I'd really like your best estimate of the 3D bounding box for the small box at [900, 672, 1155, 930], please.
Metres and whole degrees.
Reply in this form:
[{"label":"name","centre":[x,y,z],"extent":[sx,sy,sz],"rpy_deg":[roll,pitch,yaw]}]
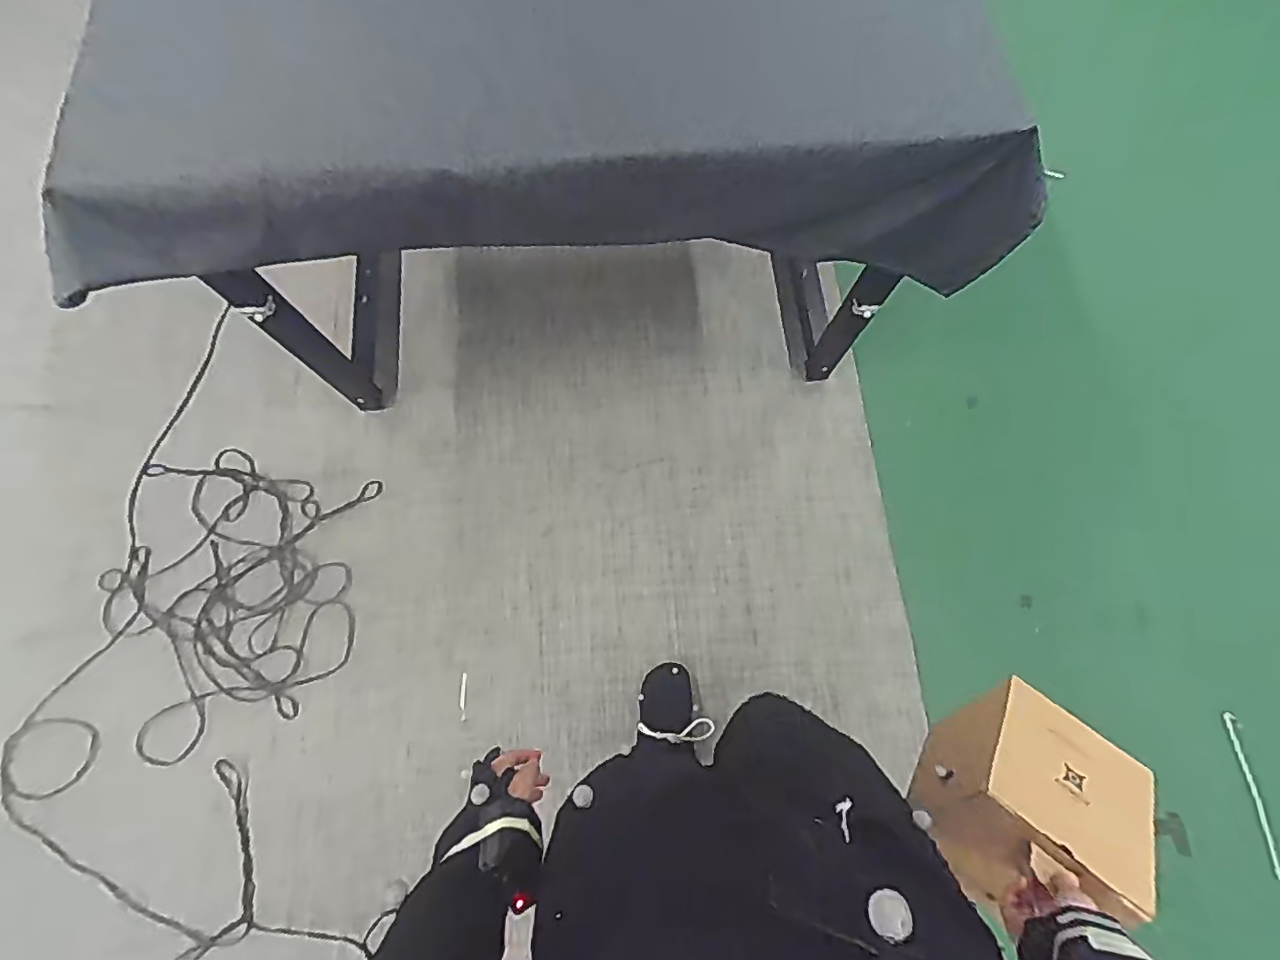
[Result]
[{"label":"small box","centre":[0.434,0.369,0.624],"extent":[0.168,0.176,0.179],"rpy_deg":[38,45,17]}]
